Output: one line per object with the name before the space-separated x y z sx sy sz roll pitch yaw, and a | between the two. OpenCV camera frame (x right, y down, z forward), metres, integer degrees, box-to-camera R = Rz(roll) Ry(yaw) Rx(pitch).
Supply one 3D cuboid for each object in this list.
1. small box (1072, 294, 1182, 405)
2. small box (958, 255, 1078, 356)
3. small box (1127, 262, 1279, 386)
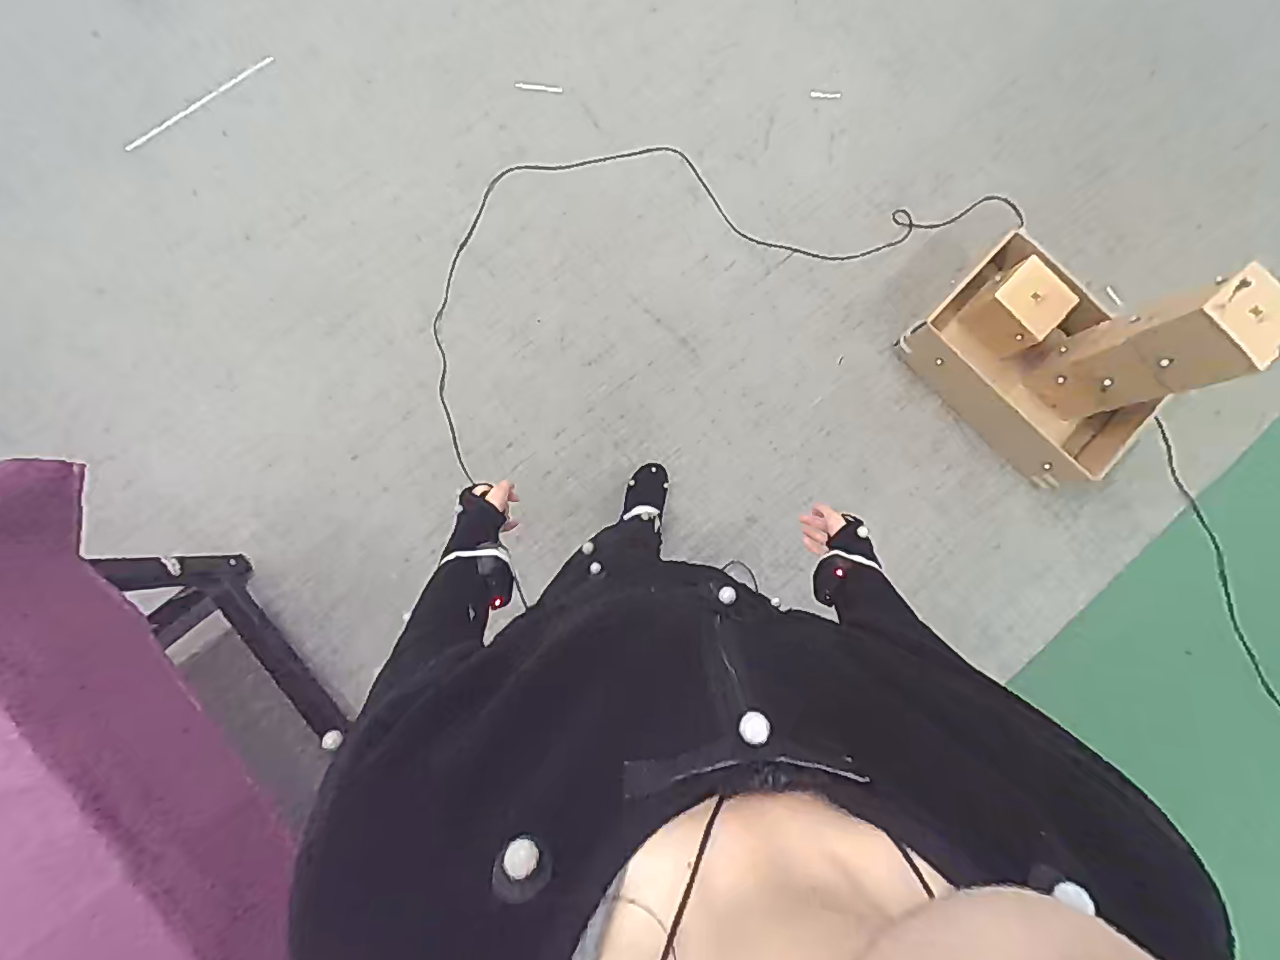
small box | 1.229 -0.311 1.325 0.179 0.176 0.168 -43 87 -6
small box | 1.034 -0.474 1.496 0.168 0.176 0.179 -45 90 -5
small box | 1.226 -0.320 1.159 0.168 0.176 0.179 -39 87 -6
